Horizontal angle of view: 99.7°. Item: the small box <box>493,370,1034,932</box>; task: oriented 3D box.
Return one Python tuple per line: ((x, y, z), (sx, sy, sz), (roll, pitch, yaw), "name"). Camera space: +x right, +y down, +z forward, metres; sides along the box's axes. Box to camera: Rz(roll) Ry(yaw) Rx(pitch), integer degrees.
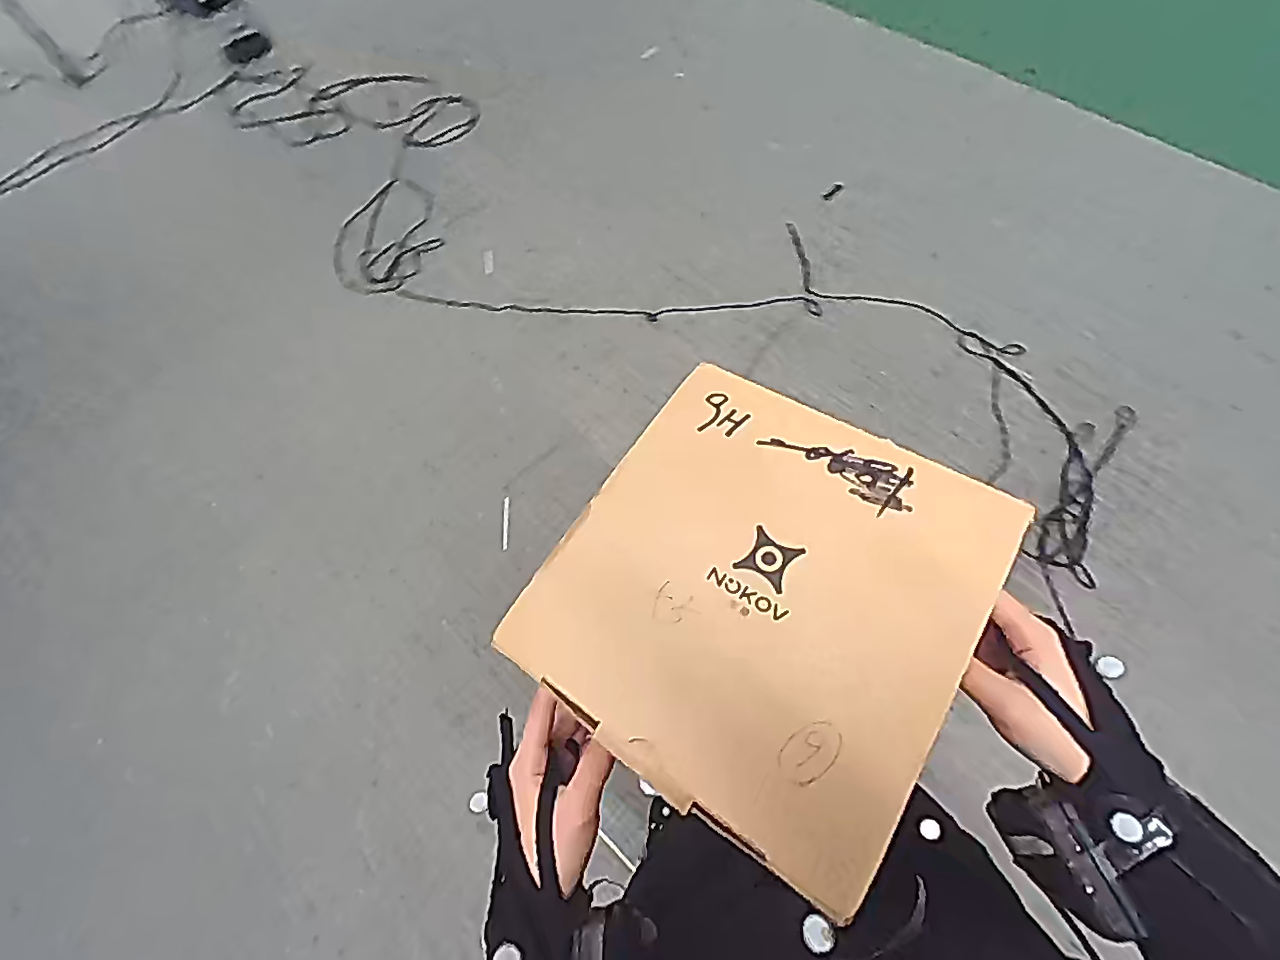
((0.061, 0.081, 0.297), (0.168, 0.176, 0.179), (31, 71, 23), "small box")
